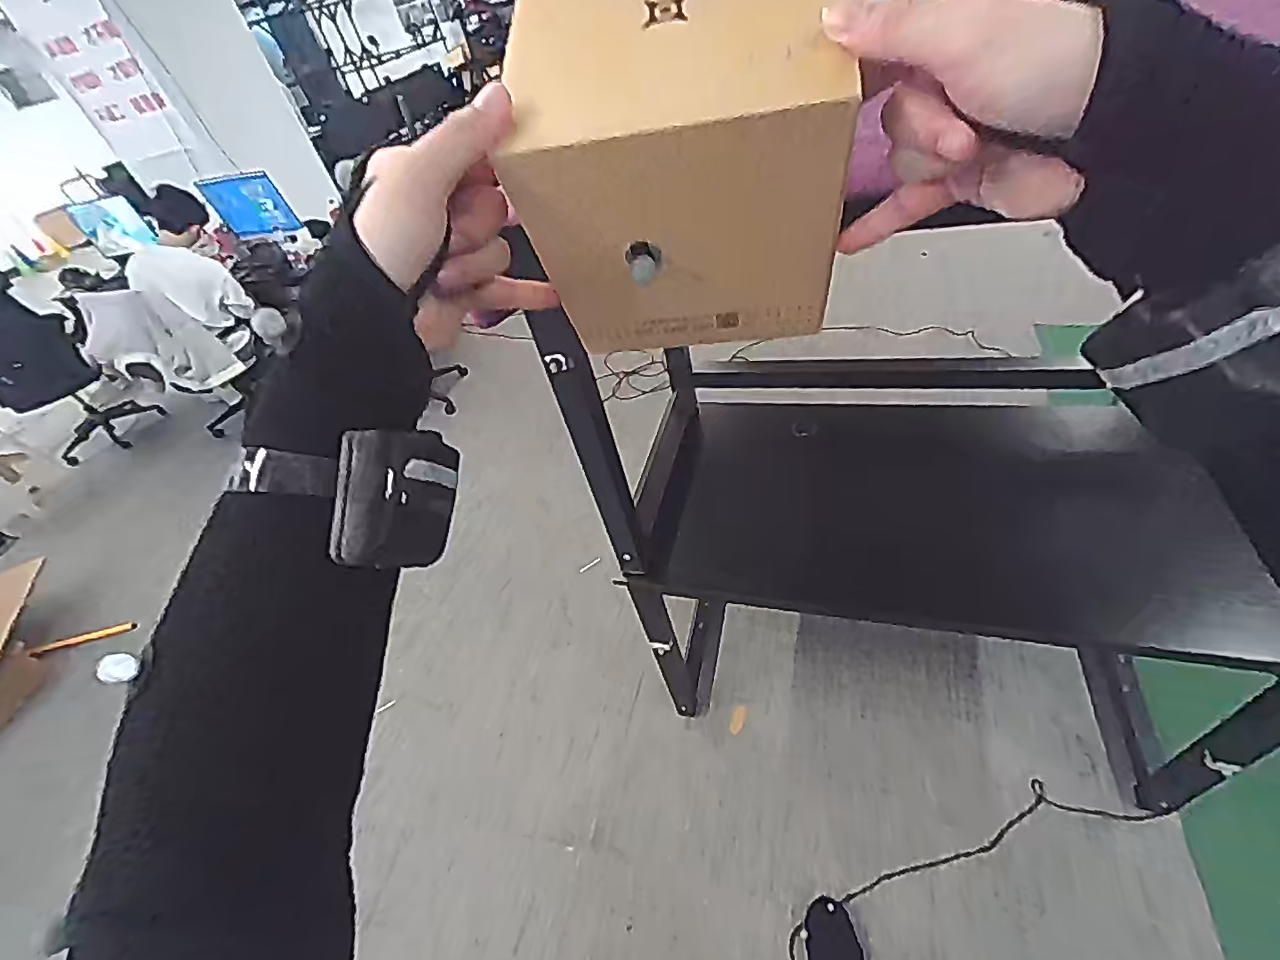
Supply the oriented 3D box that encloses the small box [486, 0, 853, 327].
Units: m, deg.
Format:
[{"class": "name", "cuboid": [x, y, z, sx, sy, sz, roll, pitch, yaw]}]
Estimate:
[{"class": "small box", "cuboid": [0.029, -0.210, 0.332, 0.168, 0.176, 0.179, -2, 69, 12]}]
